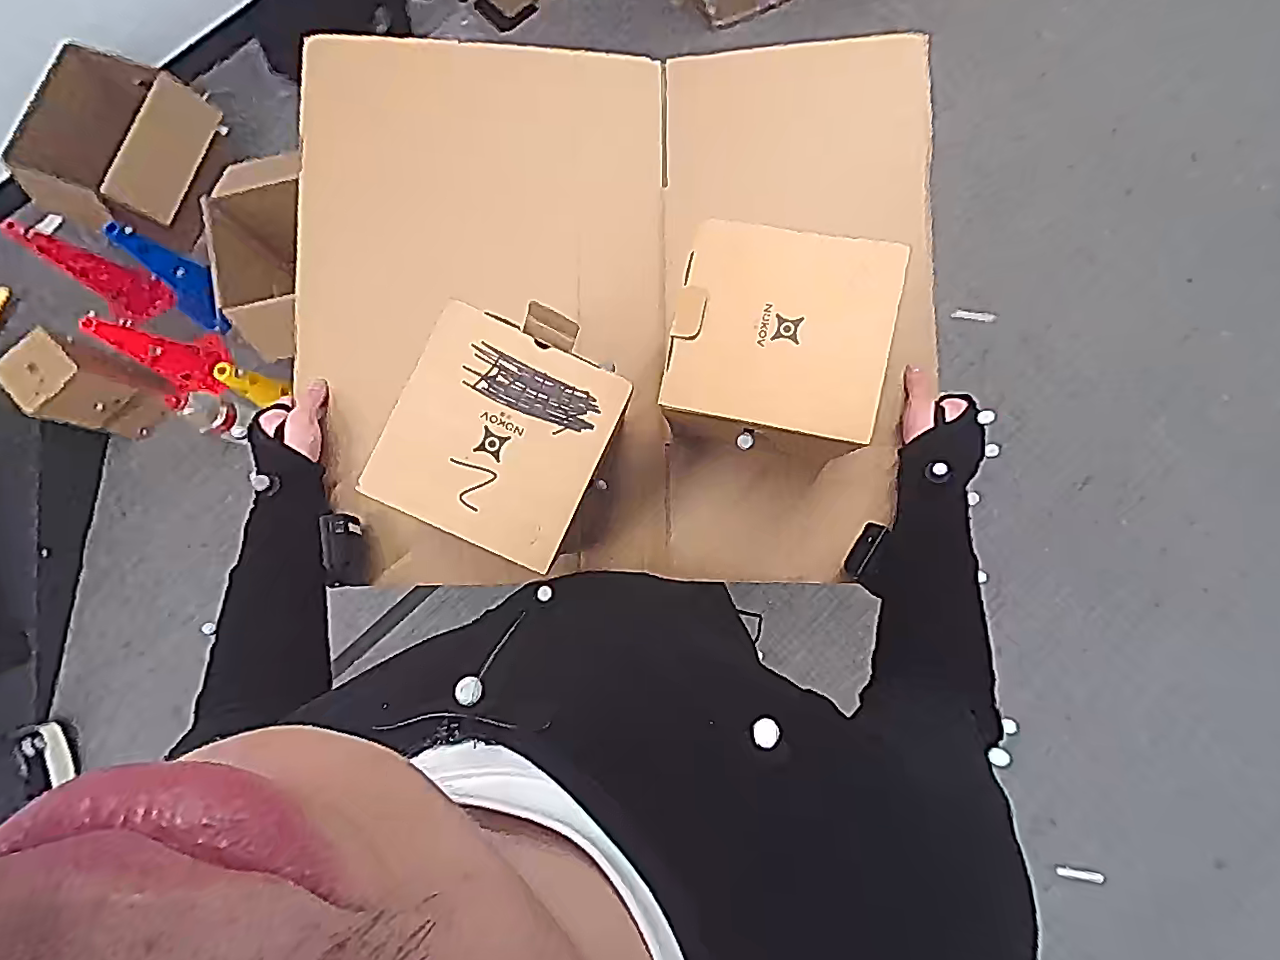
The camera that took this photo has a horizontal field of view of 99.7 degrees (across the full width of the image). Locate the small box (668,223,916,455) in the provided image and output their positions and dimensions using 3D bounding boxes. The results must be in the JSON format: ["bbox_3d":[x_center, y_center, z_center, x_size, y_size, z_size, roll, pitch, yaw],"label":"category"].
[{"bbox_3d":[0.137,-0.122,0.533,0.179,0.176,0.168,13,90,9],"label":"small box"}]
